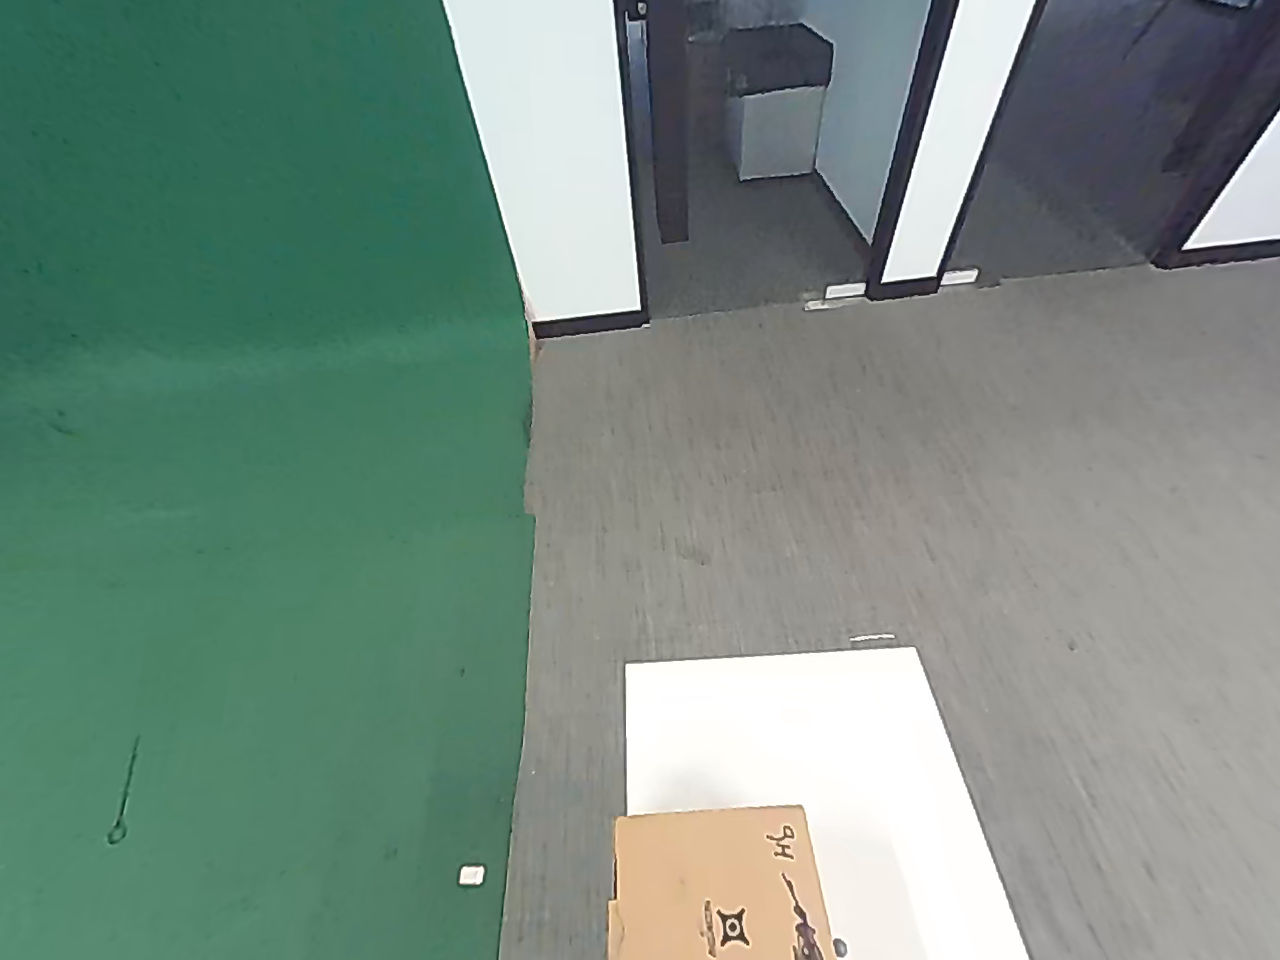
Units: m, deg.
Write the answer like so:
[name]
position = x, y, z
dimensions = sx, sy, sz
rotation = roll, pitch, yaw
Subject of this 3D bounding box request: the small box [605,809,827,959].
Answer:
[small box]
position = 0.063, 0.417, 0.497
dimensions = 0.179, 0.176, 0.168
rotation = -3, 49, 0
